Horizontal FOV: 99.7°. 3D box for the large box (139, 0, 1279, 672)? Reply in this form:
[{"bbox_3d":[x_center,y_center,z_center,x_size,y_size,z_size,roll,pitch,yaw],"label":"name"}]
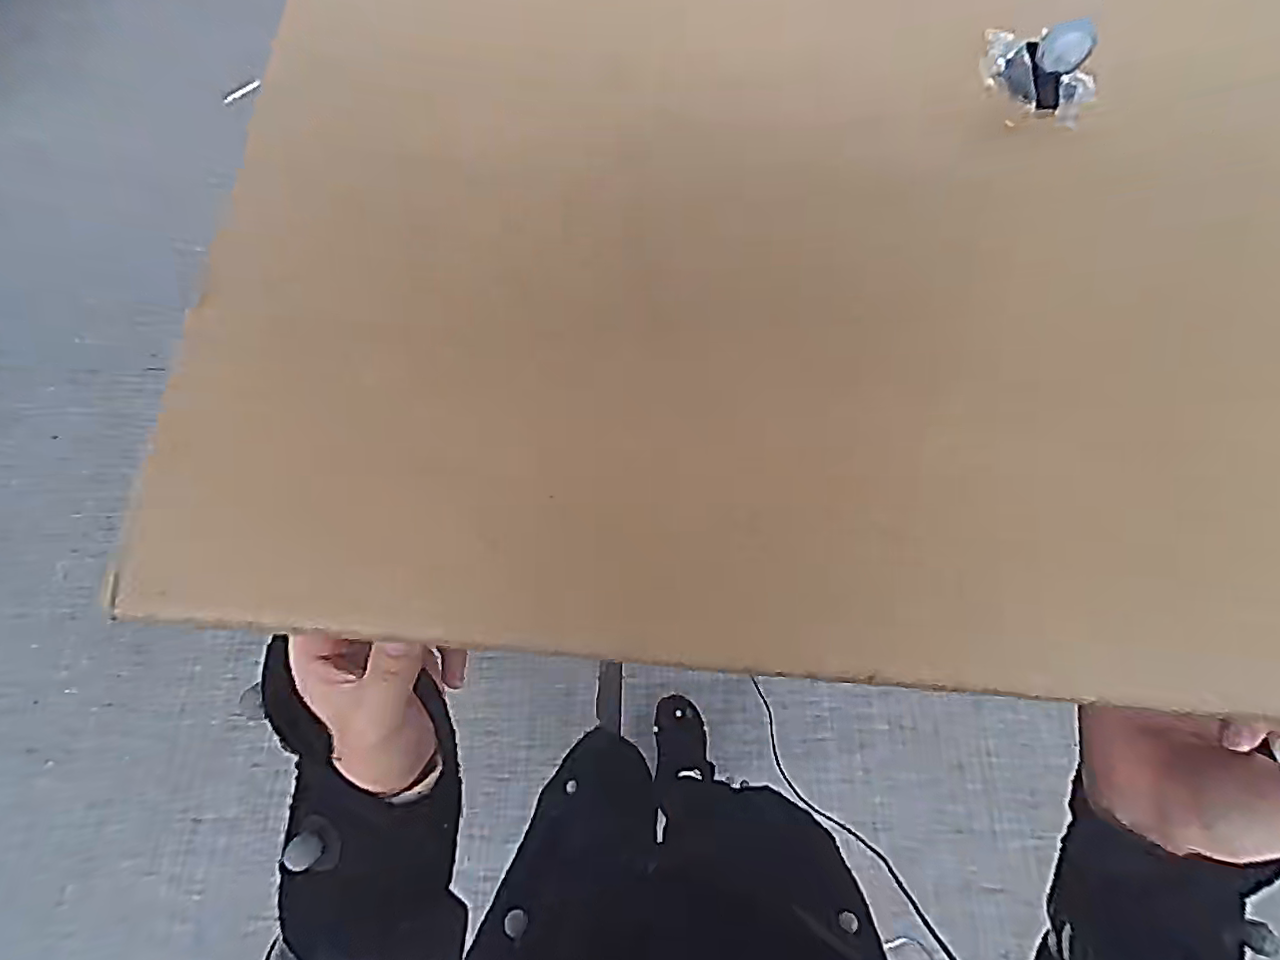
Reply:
[{"bbox_3d":[0.089,-0.081,0.299,0.408,0.320,0.320,6,78,-4],"label":"large box"}]
